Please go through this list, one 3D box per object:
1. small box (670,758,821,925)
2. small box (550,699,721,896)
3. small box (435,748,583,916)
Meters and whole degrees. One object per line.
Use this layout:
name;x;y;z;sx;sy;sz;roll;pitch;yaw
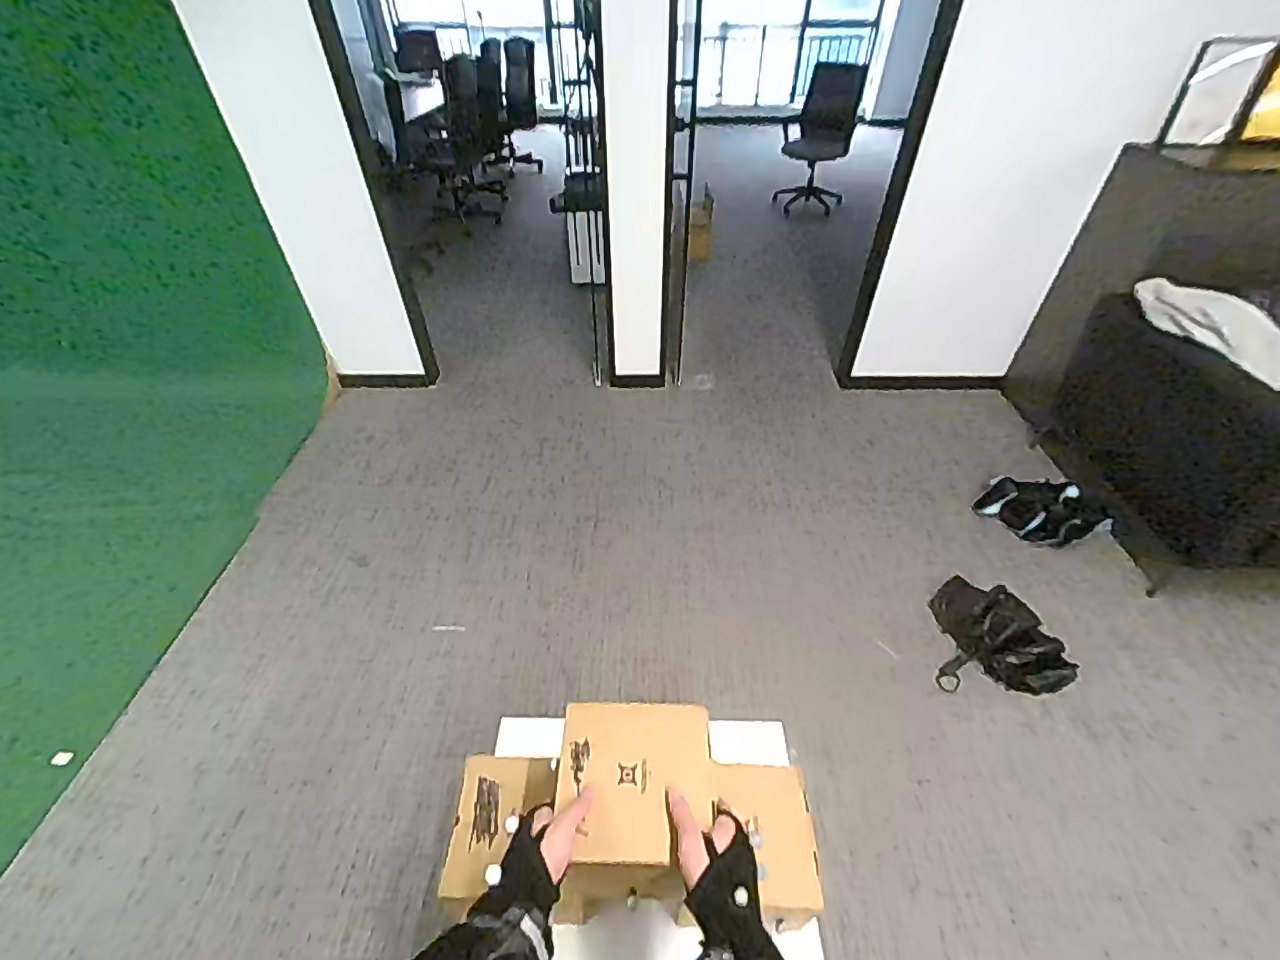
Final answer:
small box;0.136;0.512;0.766;0.179;0.176;0.168;2;43;1
small box;-0.006;0.386;0.656;0.179;0.176;0.168;3;44;-1
small box;-0.164;0.498;0.763;0.179;0.176;0.168;3;44;-2
